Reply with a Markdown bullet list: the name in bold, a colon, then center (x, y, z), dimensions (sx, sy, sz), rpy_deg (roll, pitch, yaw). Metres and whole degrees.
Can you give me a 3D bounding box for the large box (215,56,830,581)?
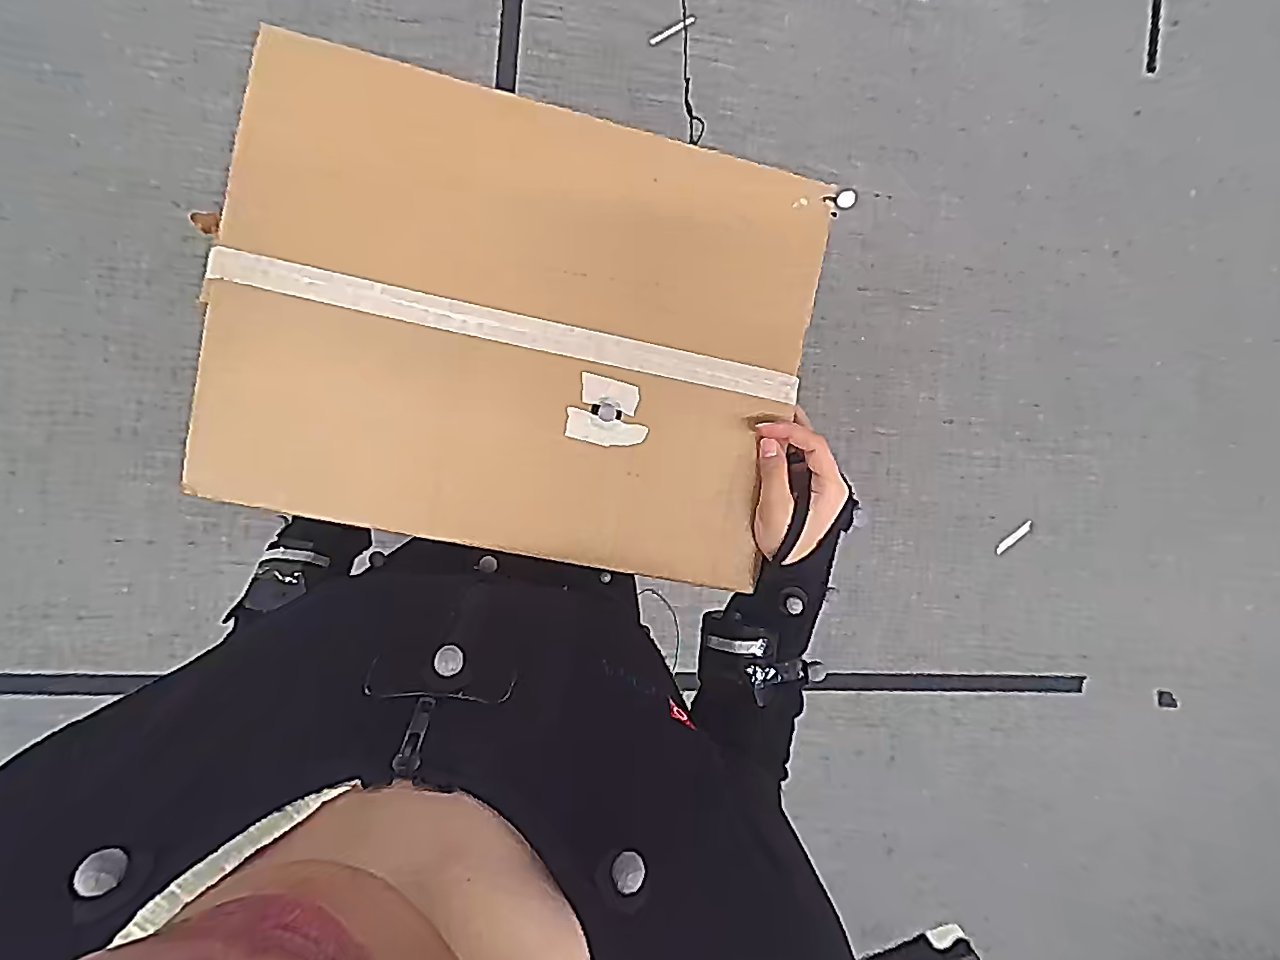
- **large box**: center (-0.094, -0.110, 0.539), dimensions (0.408, 0.320, 0.320), rpy_deg (11, 92, -8)
